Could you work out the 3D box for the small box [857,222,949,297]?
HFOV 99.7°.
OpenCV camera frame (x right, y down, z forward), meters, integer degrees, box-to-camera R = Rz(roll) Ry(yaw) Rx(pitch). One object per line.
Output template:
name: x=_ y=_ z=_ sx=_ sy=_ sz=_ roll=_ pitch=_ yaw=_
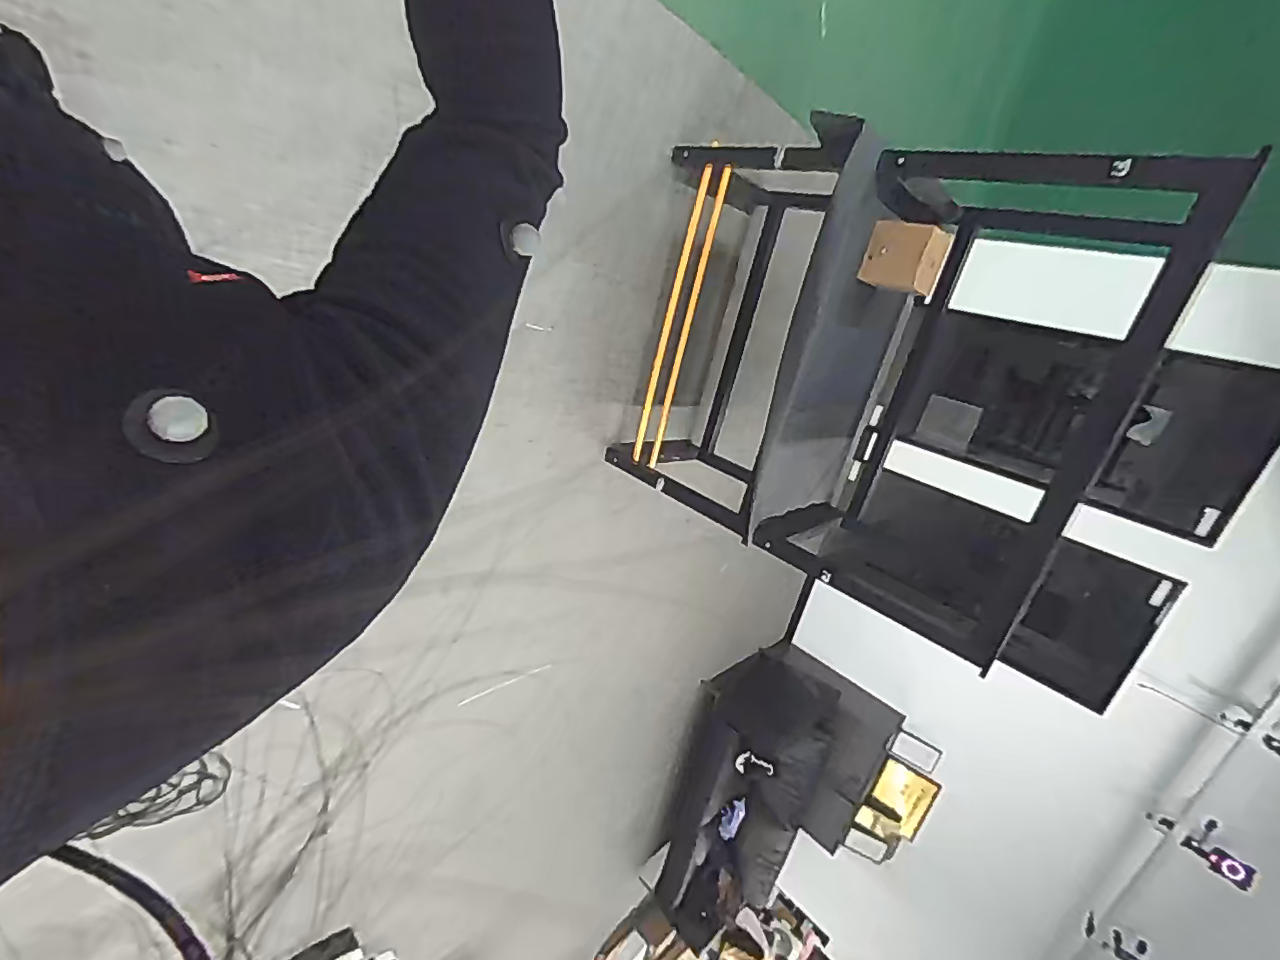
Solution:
small box: x=0.776 y=-0.652 z=1.599 sx=0.179 sy=0.176 sz=0.168 roll=-8 pitch=119 yaw=-47
